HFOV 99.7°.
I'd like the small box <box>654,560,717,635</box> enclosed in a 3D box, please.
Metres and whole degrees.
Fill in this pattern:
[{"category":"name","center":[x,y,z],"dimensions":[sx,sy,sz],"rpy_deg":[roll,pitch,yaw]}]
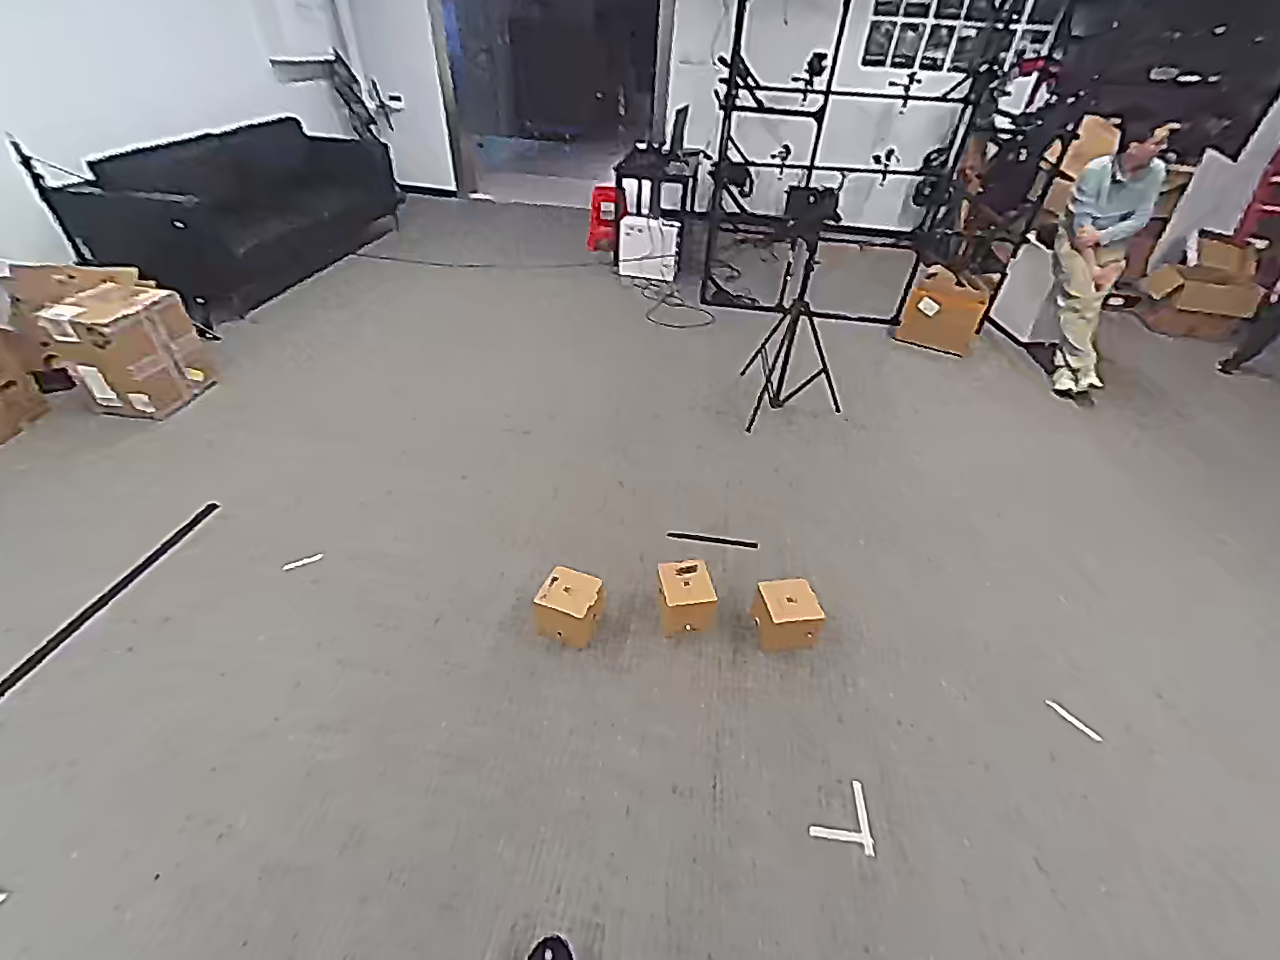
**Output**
[{"category":"small box","center":[0.147,0.397,1.827],"dimensions":[0.168,0.176,0.179],"rpy_deg":[-5,41,-10]}]

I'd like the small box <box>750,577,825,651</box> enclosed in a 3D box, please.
[{"category":"small box","center":[0.482,0.446,1.793],"dimensions":[0.179,0.176,0.168],"rpy_deg":[-5,39,-9]}]

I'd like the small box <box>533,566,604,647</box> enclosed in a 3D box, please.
[{"category":"small box","center":[-0.230,0.420,1.777],"dimensions":[0.179,0.176,0.168],"rpy_deg":[16,41,15]}]
